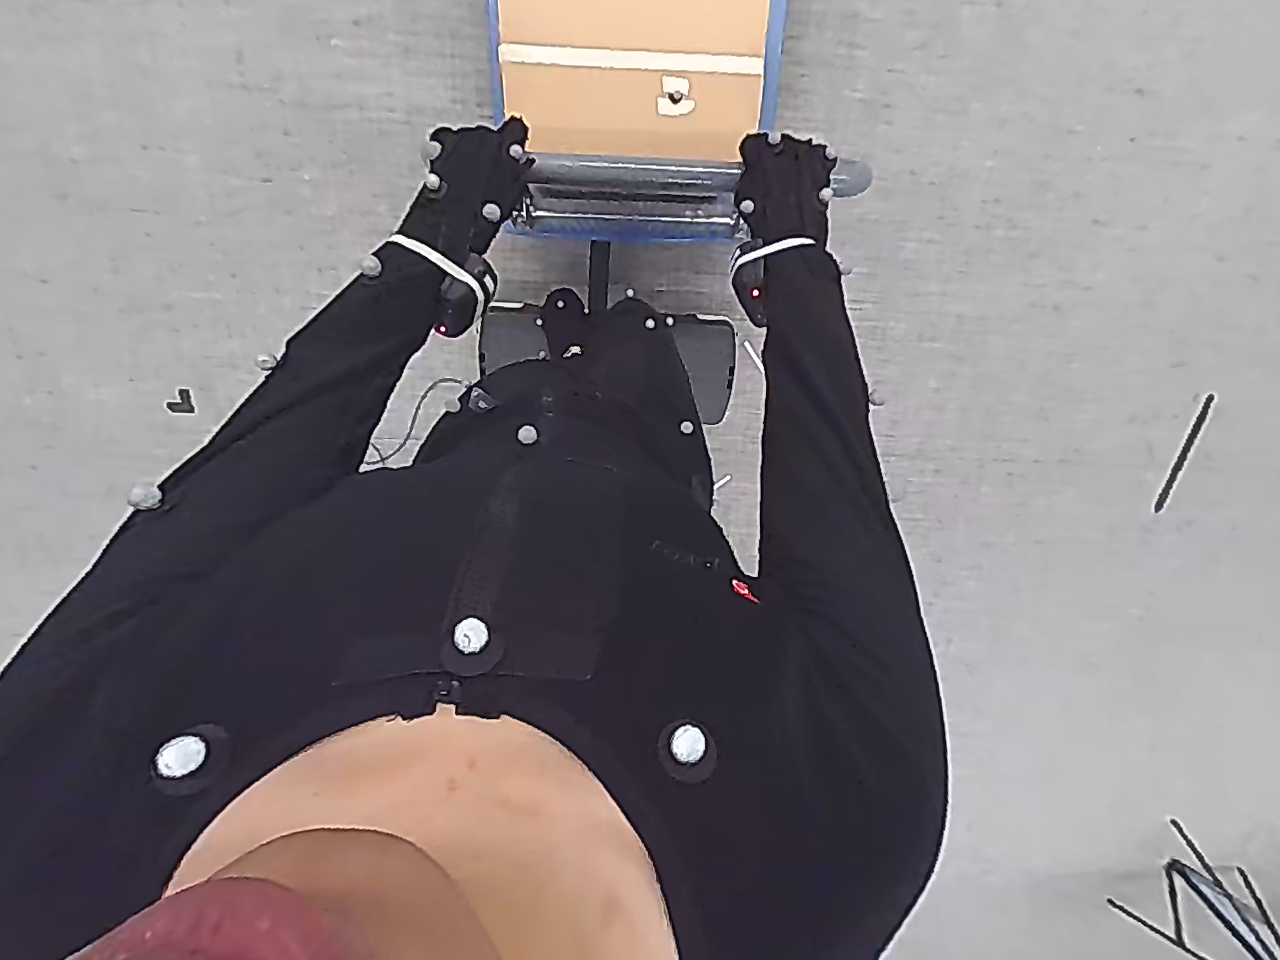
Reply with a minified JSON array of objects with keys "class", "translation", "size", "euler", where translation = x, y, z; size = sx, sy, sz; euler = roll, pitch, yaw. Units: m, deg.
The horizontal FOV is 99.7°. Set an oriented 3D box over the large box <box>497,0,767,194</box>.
[{"class":"large box","translation":[-0.021,-0.697,0.960],"size":[0.408,0.320,0.320],"euler":[0,115,-4]}]
